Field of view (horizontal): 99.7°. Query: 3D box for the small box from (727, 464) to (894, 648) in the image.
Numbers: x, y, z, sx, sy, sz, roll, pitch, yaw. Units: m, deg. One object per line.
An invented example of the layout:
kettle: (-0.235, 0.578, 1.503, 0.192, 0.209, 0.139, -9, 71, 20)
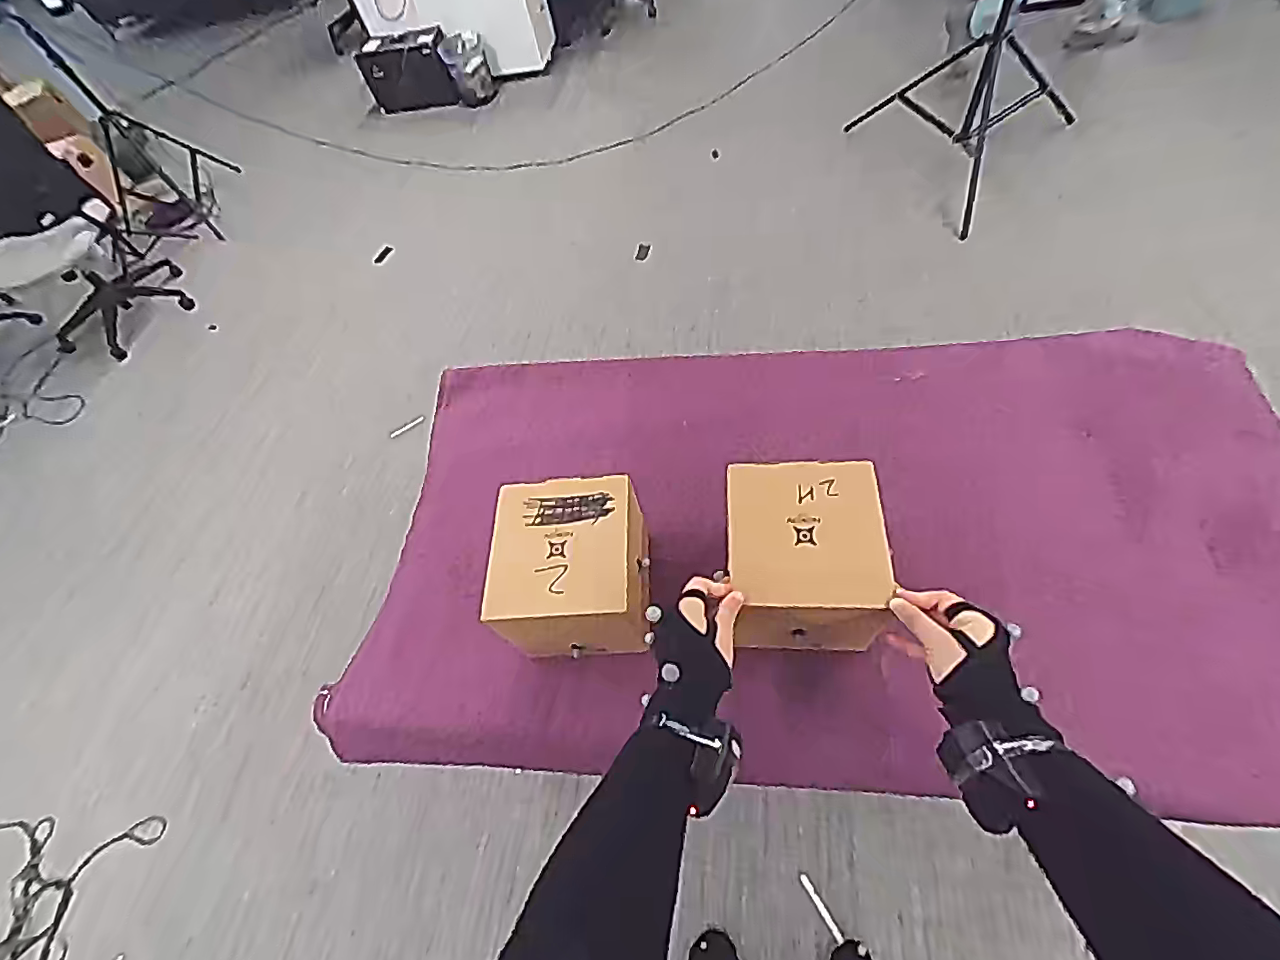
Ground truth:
small box: (0.191, 0.098, 0.658, 0.168, 0.176, 0.179, 0, 58, 8)
